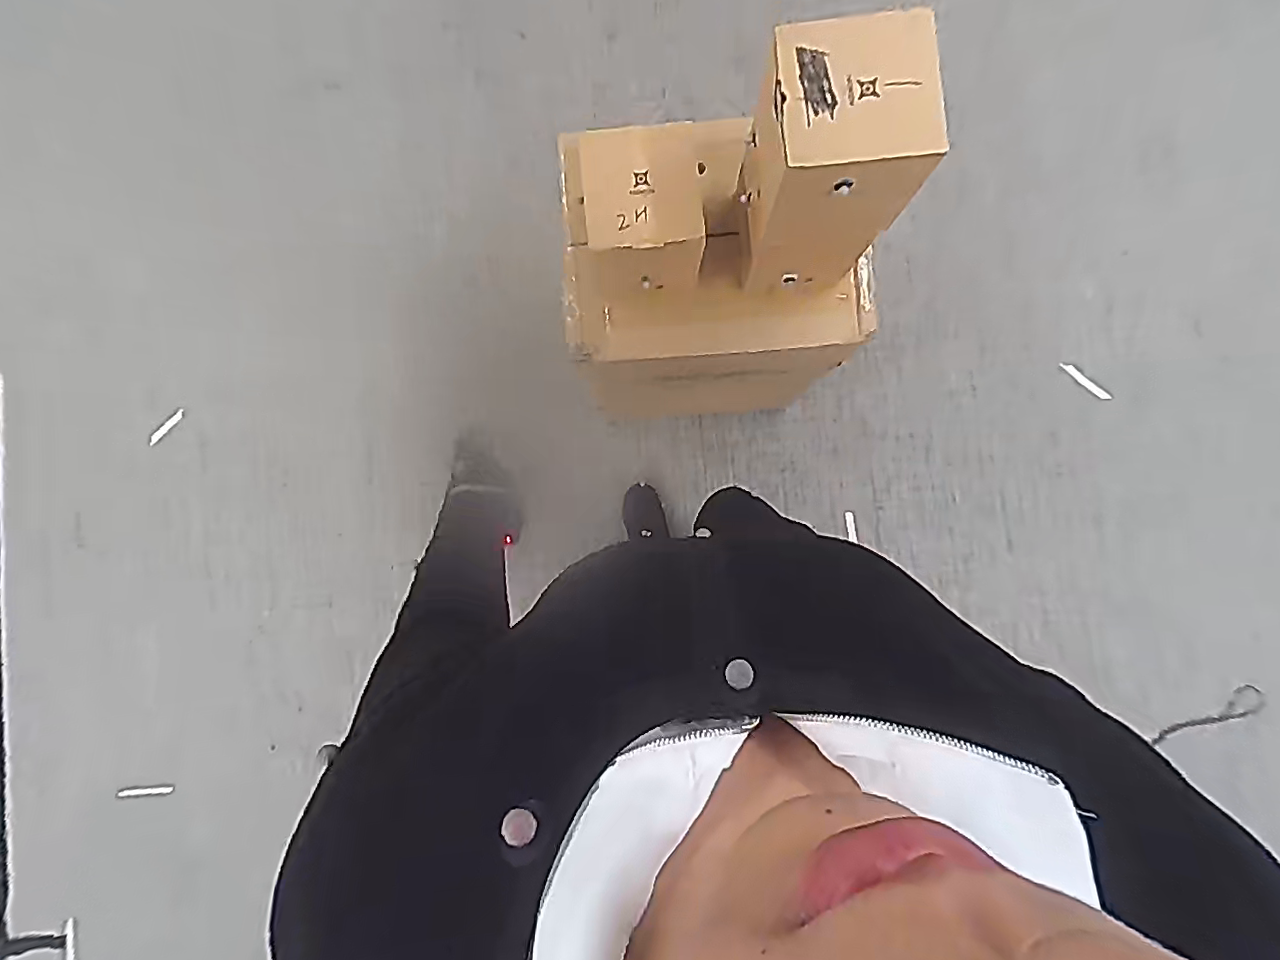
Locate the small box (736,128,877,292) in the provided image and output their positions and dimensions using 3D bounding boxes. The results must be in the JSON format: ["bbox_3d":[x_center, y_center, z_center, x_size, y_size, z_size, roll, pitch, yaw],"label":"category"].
[{"bbox_3d":[0.245,-0.414,0.835,0.168,0.176,0.179,-5,88,3],"label":"small box"}]

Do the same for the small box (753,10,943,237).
[{"bbox_3d":[0.239,-0.423,0.671,0.179,0.176,0.168,-5,87,2],"label":"small box"}]

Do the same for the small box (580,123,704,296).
[{"bbox_3d":[0.001,-0.408,0.839,0.168,0.176,0.179,-6,87,0],"label":"small box"}]
